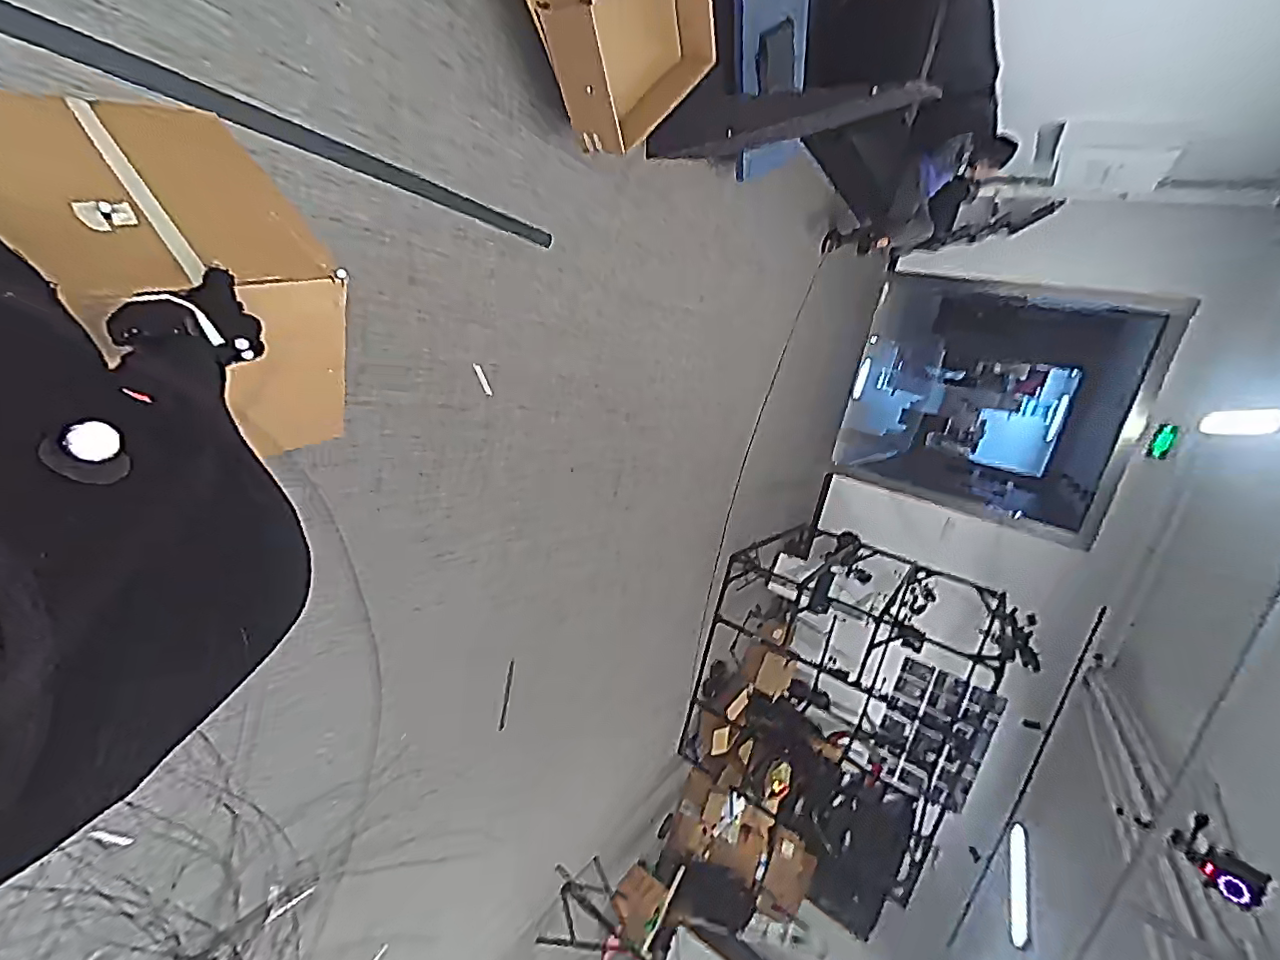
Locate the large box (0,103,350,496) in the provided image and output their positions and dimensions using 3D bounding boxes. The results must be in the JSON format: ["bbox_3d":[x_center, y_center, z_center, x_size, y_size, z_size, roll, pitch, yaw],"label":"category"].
[{"bbox_3d":[-0.675,-0.256,0.773,0.320,0.408,0.320,-29,161,-41],"label":"large box"}]
